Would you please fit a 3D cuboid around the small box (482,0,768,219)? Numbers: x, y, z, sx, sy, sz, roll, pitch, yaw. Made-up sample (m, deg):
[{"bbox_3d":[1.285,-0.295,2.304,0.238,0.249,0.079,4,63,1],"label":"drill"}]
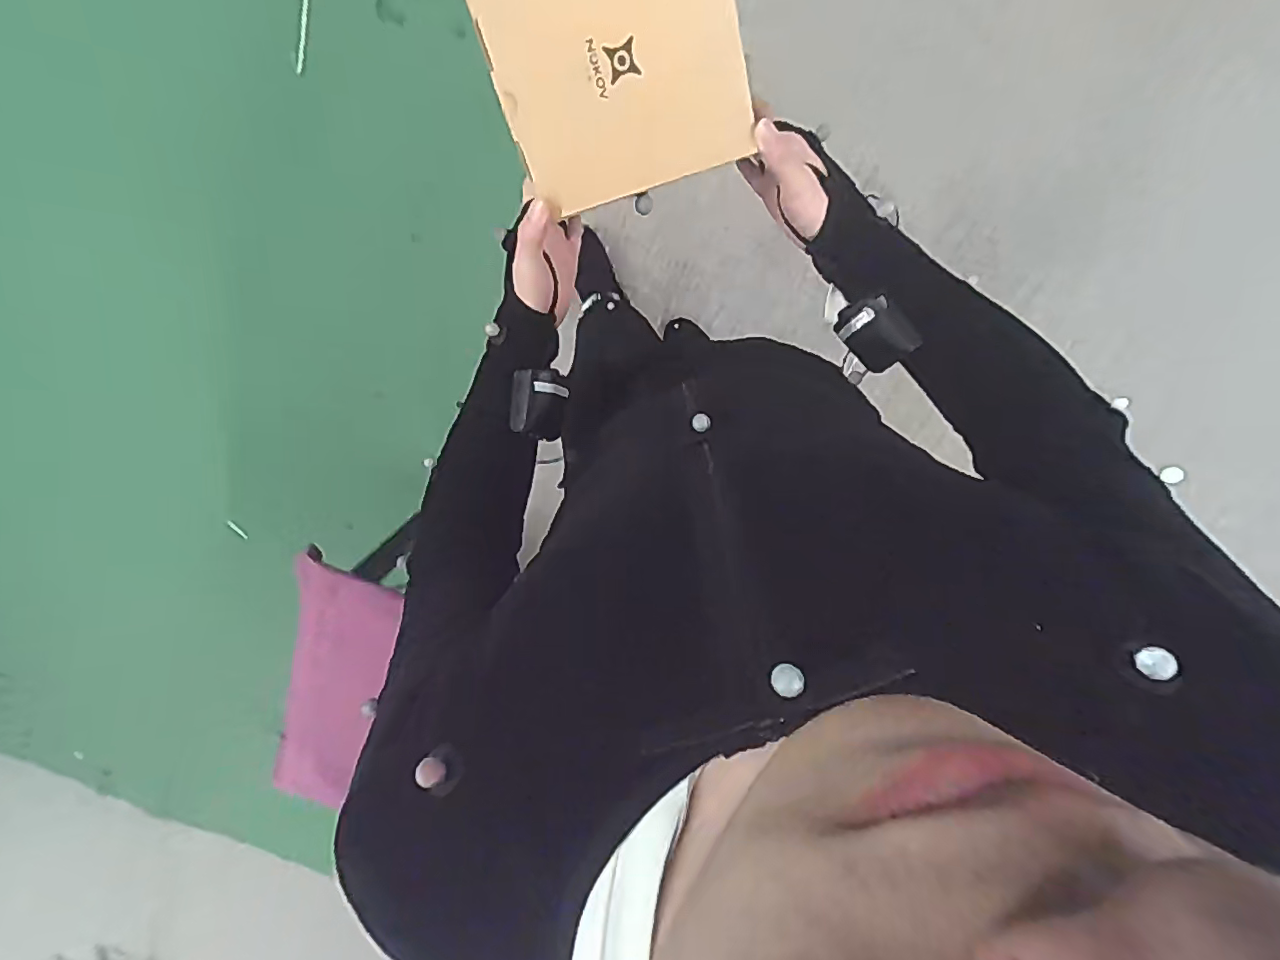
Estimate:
[{"bbox_3d":[-0.004,-0.336,0.447,0.179,0.176,0.168,-12,120,12],"label":"small box"}]
